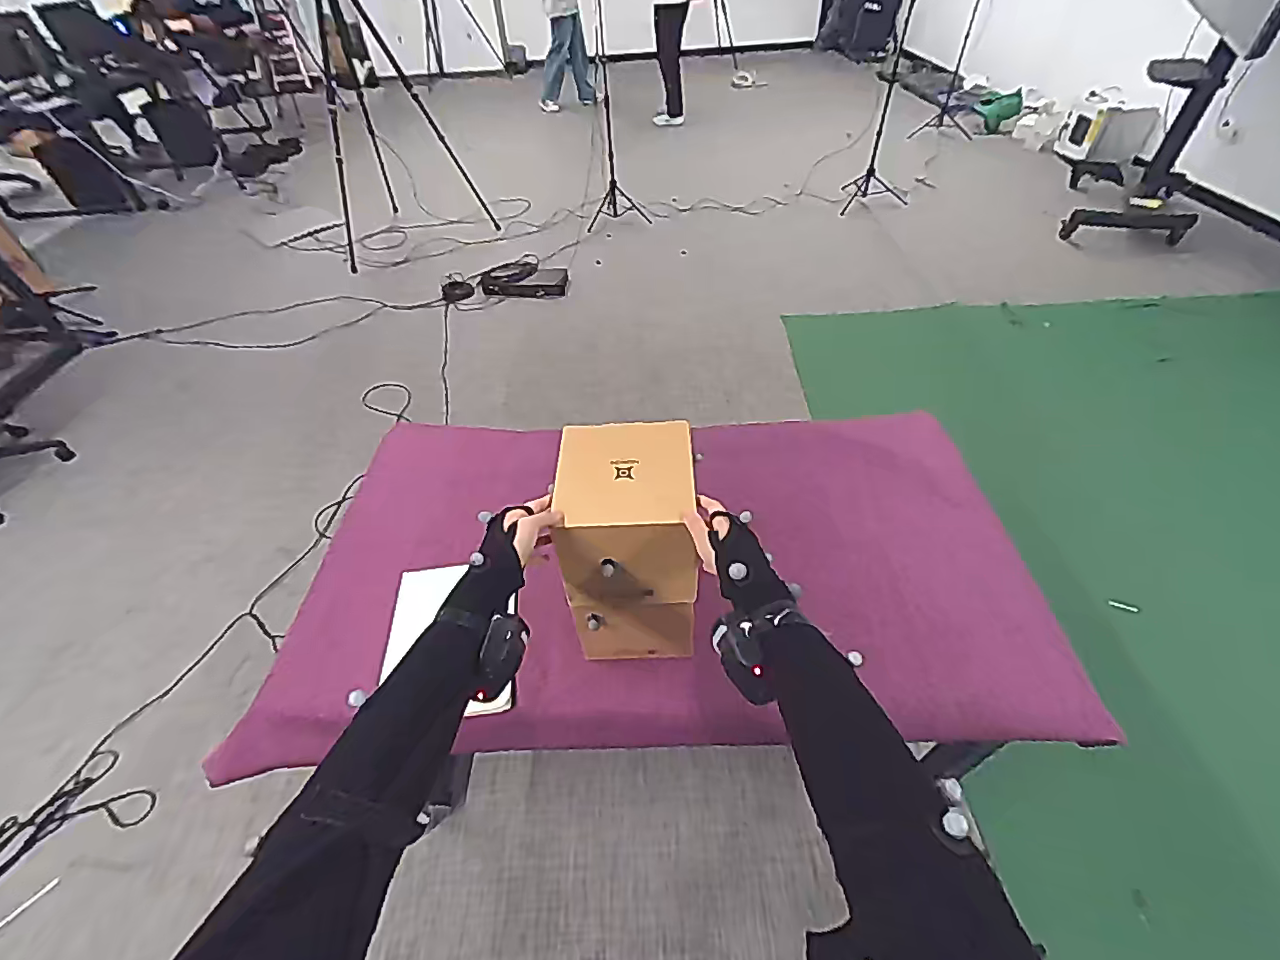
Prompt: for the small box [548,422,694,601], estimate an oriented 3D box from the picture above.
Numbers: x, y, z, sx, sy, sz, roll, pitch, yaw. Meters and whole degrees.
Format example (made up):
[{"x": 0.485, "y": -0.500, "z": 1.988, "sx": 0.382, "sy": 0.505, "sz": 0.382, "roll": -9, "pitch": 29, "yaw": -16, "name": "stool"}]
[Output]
[{"x": -0.016, "y": 0.046, "z": 0.705, "sx": 0.168, "sy": 0.176, "sz": 0.179, "roll": -2, "pitch": 45, "yaw": 2, "name": "small box"}]
